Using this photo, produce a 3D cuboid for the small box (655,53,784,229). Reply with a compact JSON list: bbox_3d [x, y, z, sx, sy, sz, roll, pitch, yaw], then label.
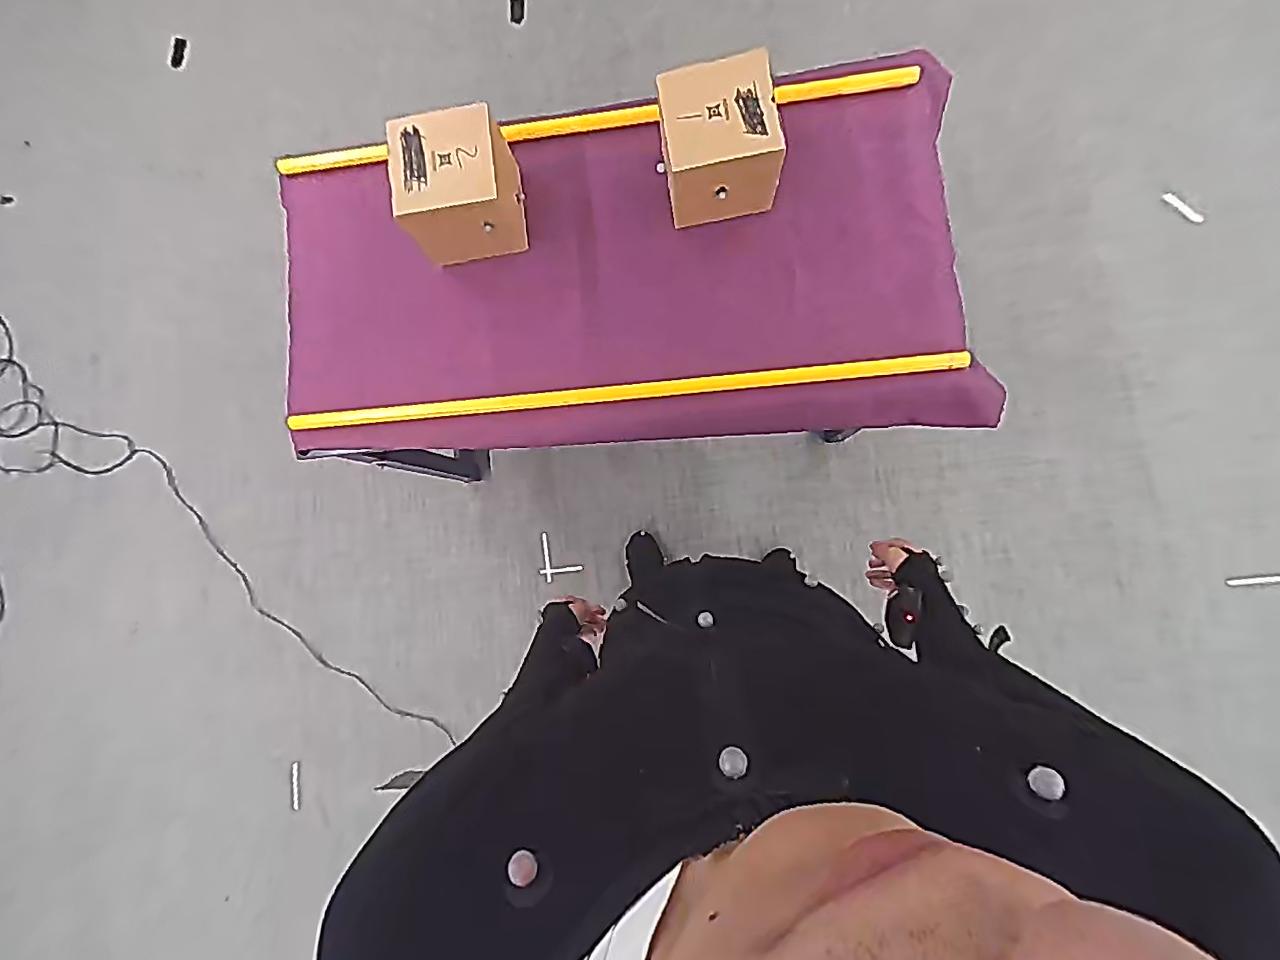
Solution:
[{"bbox_3d":[0.127,-0.547,0.897,0.179,0.176,0.168,-9,85,6],"label":"small box"}]
